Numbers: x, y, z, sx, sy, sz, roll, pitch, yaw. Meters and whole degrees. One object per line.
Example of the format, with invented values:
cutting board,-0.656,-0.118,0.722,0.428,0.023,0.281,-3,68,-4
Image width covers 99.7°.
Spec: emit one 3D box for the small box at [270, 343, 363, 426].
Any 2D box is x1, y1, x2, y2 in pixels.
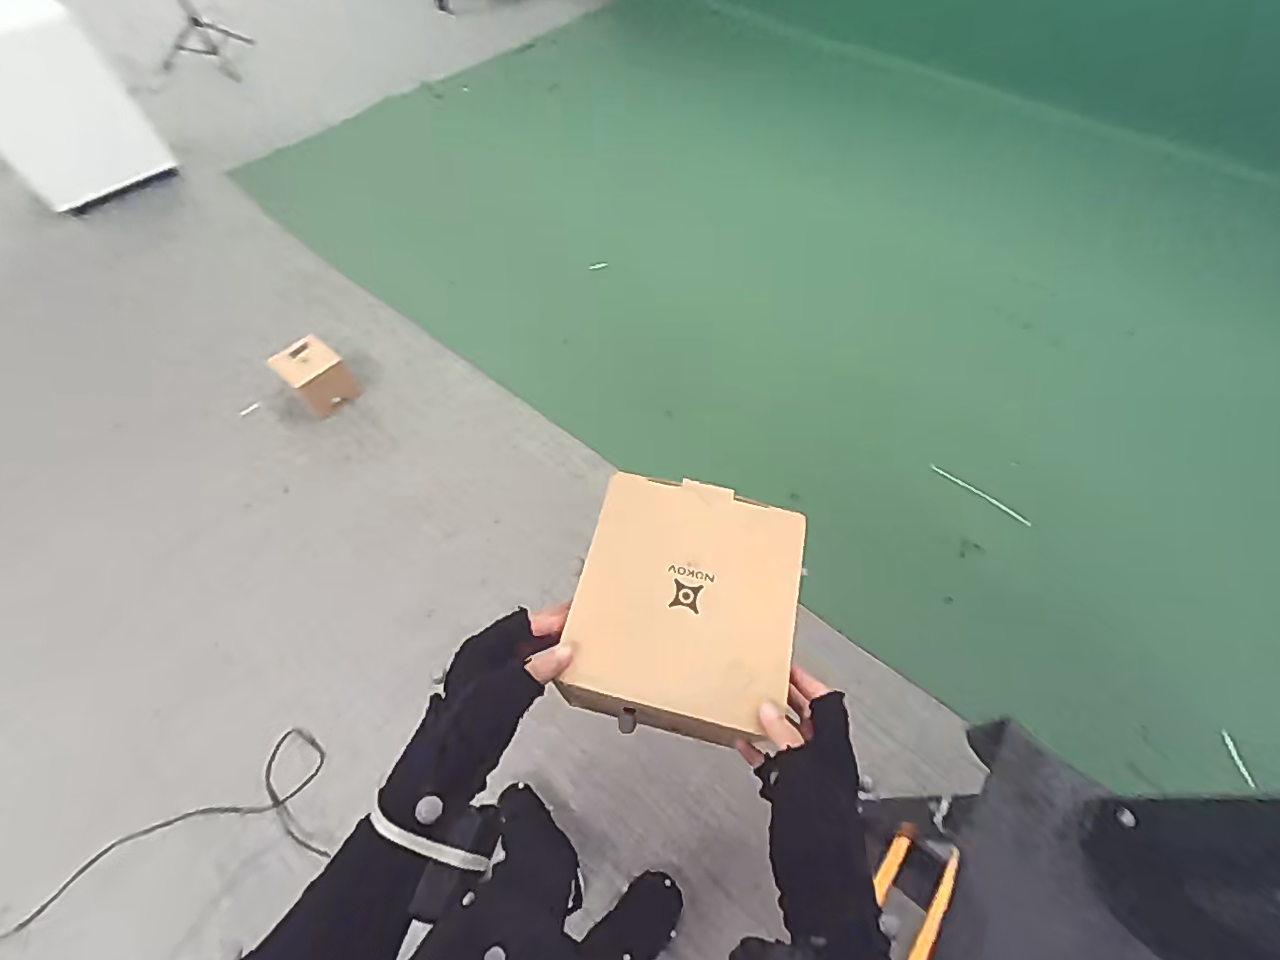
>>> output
small box,-1.061,-0.311,1.785,0.179,0.176,0.168,36,64,18
